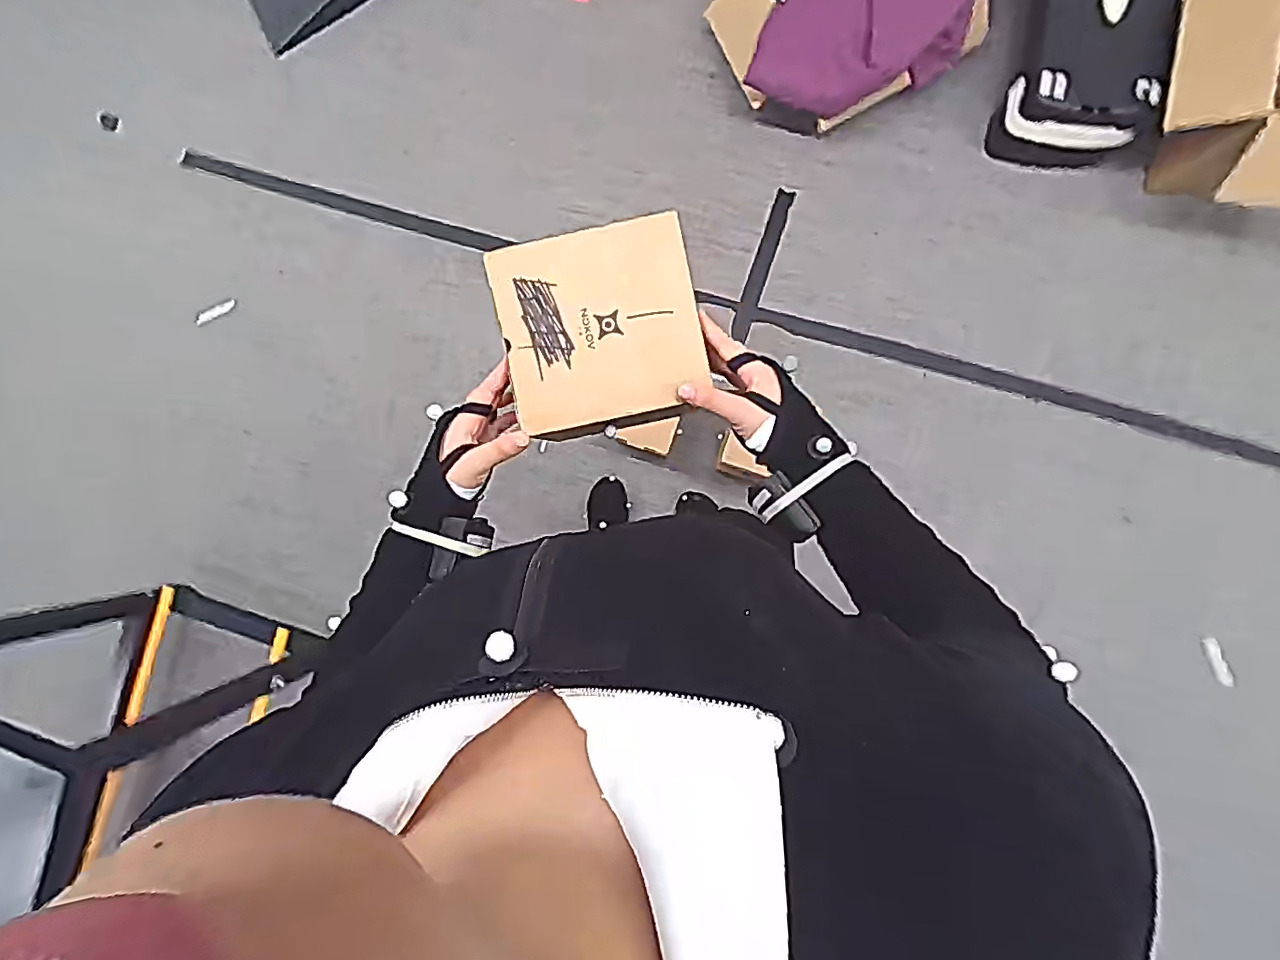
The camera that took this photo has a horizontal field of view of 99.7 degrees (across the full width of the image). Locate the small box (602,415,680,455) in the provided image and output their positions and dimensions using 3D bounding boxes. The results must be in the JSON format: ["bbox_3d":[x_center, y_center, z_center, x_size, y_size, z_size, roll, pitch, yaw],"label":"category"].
[{"bbox_3d":[0.015,-0.171,1.416,0.168,0.176,0.179,20,92,5],"label":"small box"}]

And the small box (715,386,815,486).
[{"bbox_3d":[0.274,-0.096,1.231,0.168,0.176,0.179,19,93,5],"label":"small box"}]

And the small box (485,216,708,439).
[{"bbox_3d":[-0.036,-0.139,0.558,0.179,0.176,0.168,-12,92,1],"label":"small box"}]

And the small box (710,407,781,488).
[{"bbox_3d":[0.289,-0.084,1.393,0.179,0.176,0.168,17,91,5],"label":"small box"}]
